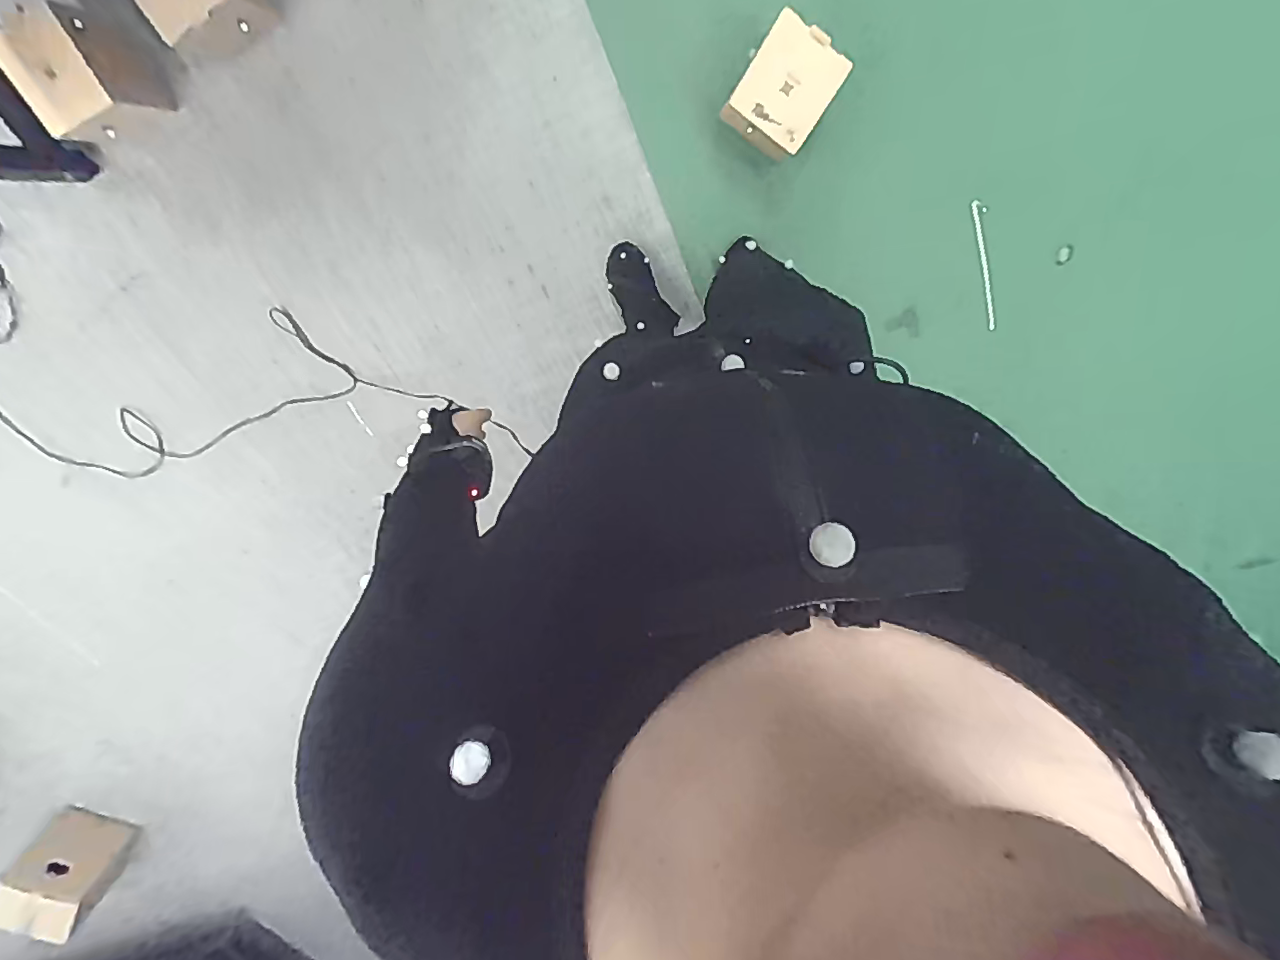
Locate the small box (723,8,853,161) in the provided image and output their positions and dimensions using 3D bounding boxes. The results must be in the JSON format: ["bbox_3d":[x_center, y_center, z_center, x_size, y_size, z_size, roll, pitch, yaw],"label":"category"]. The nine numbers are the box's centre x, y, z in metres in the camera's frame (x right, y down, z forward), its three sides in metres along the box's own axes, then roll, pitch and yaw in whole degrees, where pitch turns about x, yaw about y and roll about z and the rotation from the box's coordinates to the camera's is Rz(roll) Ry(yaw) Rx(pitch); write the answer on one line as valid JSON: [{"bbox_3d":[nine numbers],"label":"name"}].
[{"bbox_3d":[0.283,-0.776,1.085,0.168,0.176,0.179,31,113,-14],"label":"small box"}]

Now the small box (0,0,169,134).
[{"bbox_3d":[-1.129,-0.826,1.094,0.168,0.176,0.179,-18,115,11],"label":"small box"}]

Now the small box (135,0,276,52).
[{"bbox_3d":[-0.846,-0.951,1.020,0.168,0.176,0.179,-24,114,13],"label":"small box"}]
